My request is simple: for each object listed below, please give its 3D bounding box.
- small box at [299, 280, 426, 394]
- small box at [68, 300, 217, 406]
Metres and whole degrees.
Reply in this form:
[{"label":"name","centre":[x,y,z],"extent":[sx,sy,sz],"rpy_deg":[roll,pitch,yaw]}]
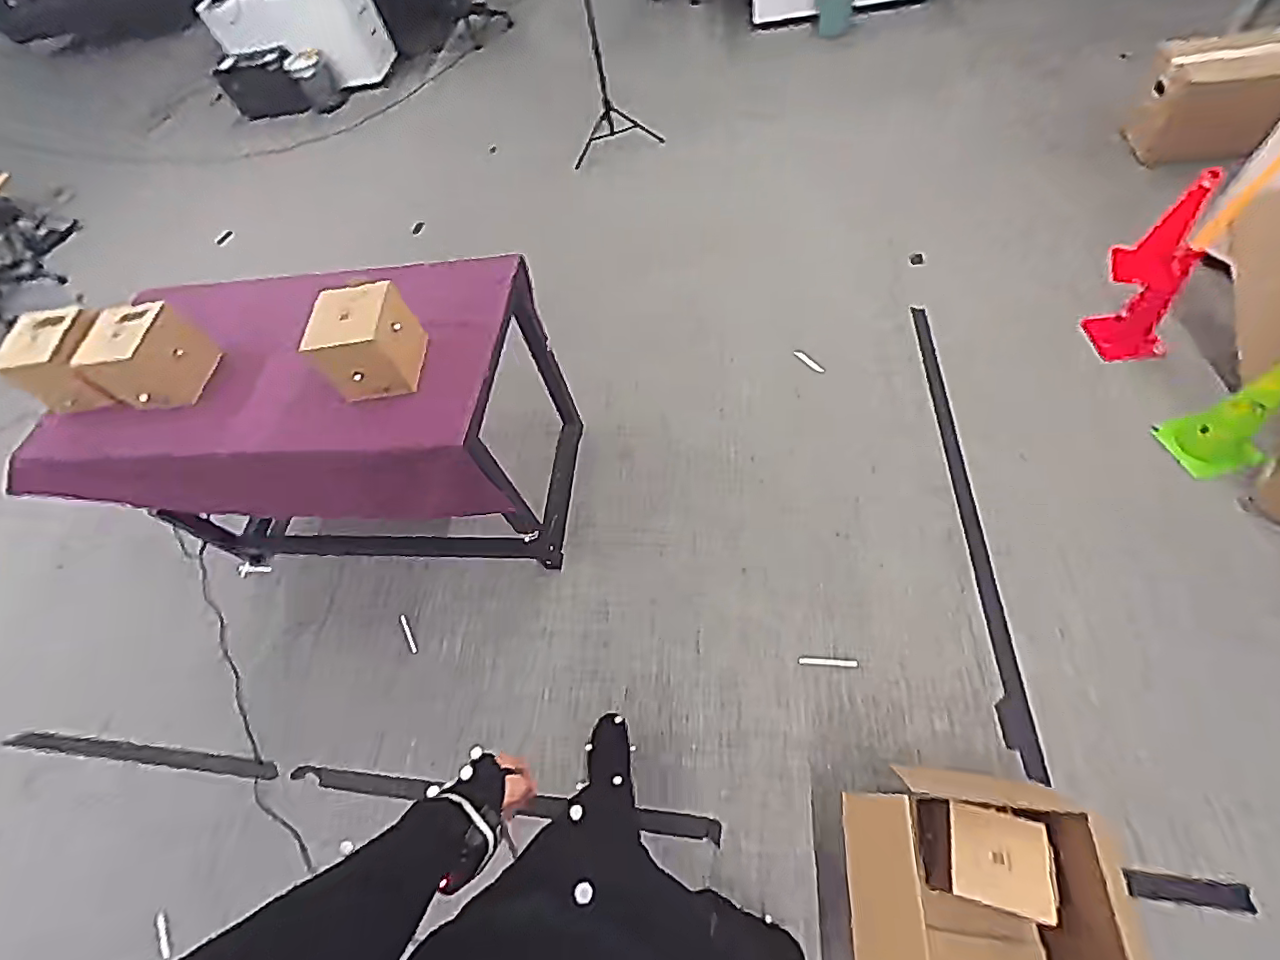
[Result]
[{"label":"small box","centre":[-0.595,-0.304,1.185],"extent":[0.168,0.176,0.179],"rpy_deg":[-6,58,7]},{"label":"small box","centre":[-1.167,-0.300,1.289],"extent":[0.168,0.176,0.179],"rpy_deg":[-4,60,8]}]
